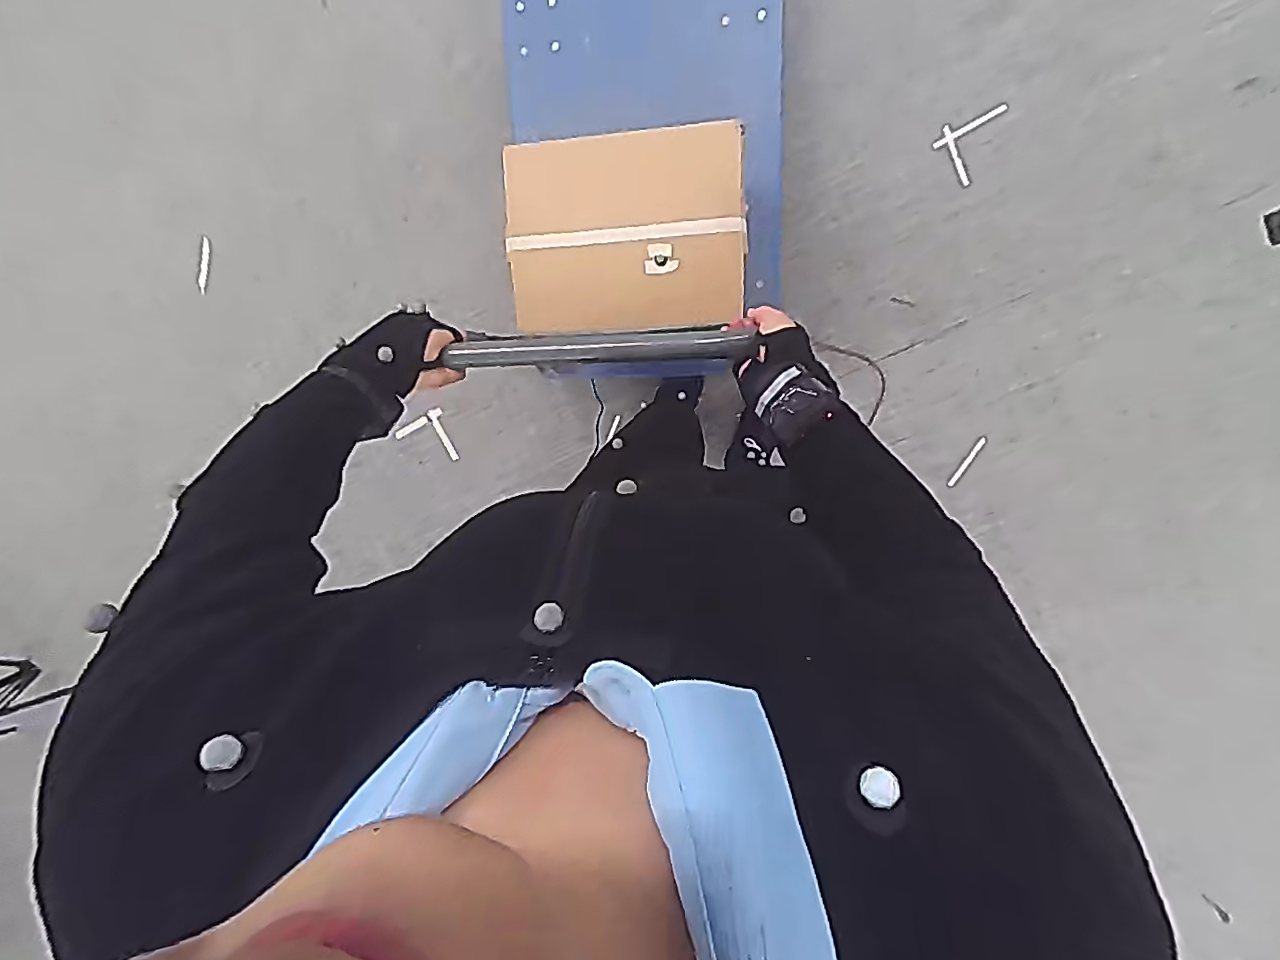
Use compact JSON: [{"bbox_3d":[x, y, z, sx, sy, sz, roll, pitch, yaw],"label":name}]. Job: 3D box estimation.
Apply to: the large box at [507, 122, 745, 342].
[{"bbox_3d":[-0.004,-0.448,1.067,0.408,0.320,0.320,0,103,9],"label":"large box"}]
